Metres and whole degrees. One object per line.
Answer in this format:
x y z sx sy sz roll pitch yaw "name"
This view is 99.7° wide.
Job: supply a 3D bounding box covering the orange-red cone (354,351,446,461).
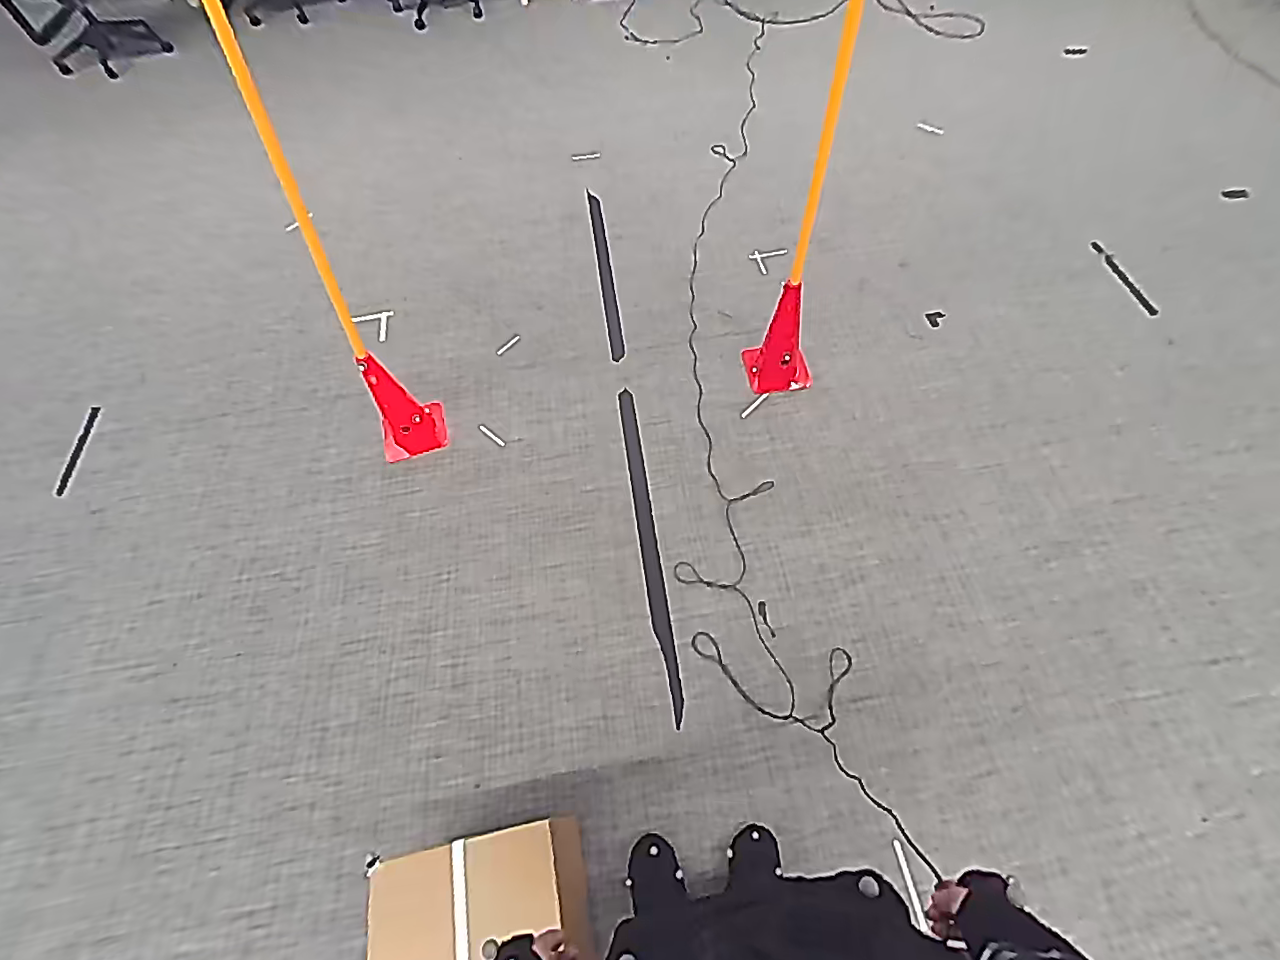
-0.745 -0.246 1.611 0.199 0.360 0.198 -17 59 -5 "orange-red cone"
